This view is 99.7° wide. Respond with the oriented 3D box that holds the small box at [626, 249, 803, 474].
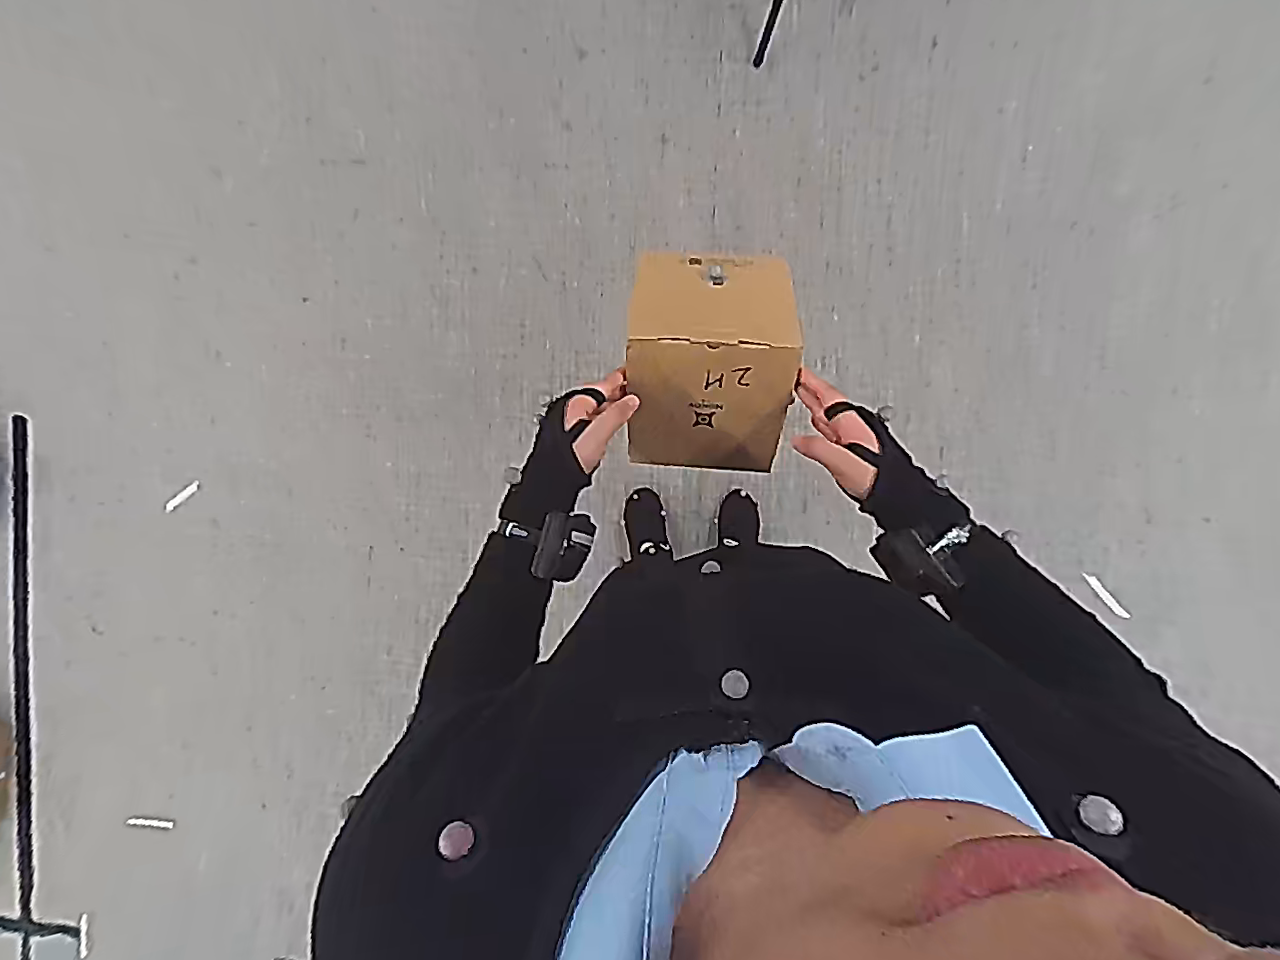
[{"bbox_3d":[0.075,-0.131,0.605,0.168,0.179,0.176,4,49,3],"label":"small box"}]
